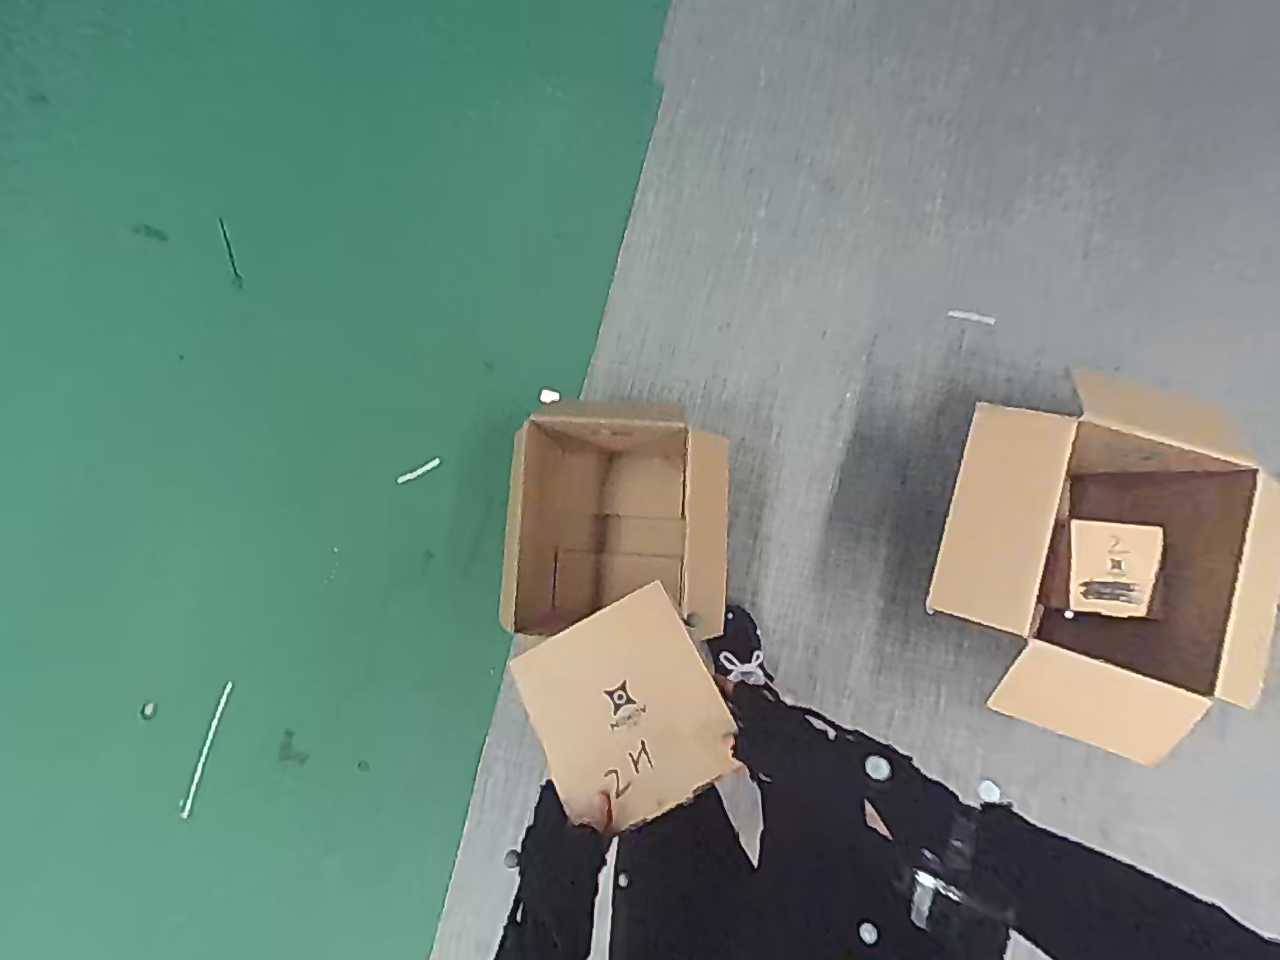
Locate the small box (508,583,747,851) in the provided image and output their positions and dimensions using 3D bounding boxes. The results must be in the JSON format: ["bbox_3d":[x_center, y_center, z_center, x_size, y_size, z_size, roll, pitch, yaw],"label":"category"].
[{"bbox_3d":[-0.006,0.233,0.559,0.168,0.176,0.179,-29,68,-2],"label":"small box"}]
